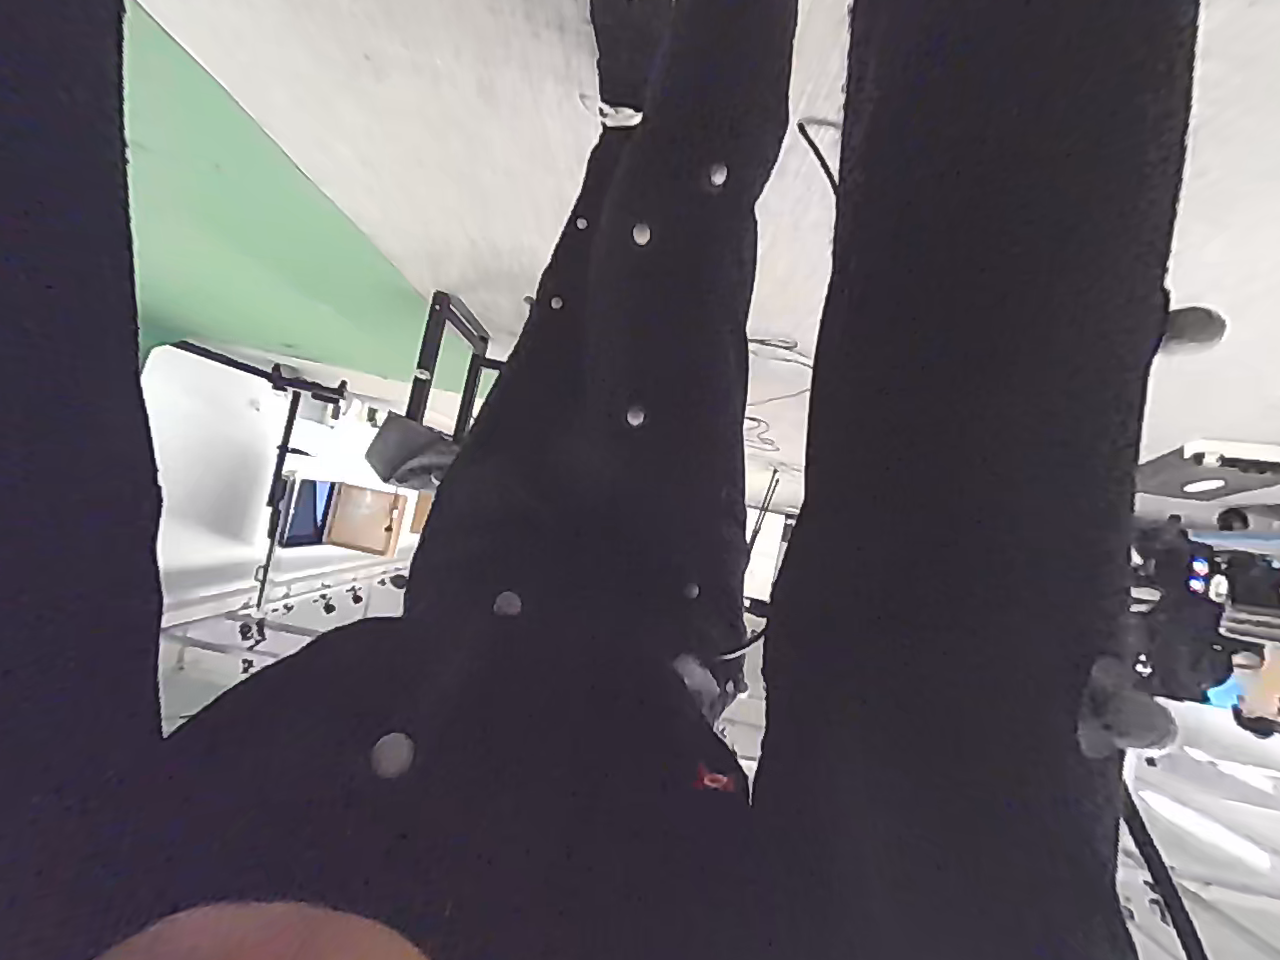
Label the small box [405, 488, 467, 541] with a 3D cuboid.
[{"bbox_3d":[-0.777,0.130,2.080,0.179,0.176,0.168,13,176,-6],"label":"small box"}]
